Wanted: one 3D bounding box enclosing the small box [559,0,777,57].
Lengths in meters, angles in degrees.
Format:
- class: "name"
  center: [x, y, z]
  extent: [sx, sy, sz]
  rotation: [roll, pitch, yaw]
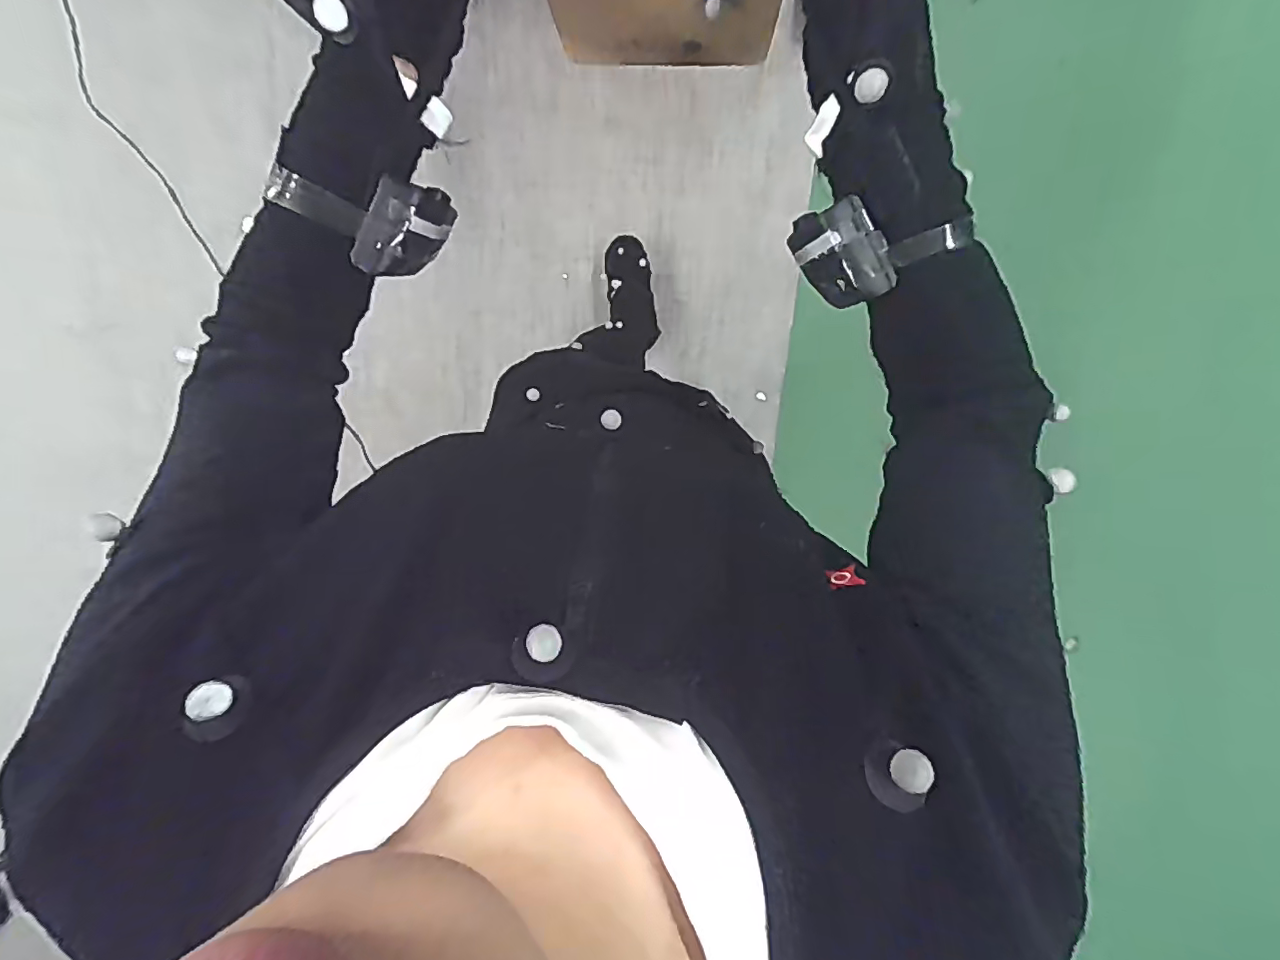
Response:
- class: "small box"
  center: [0.021, -0.423, 0.361]
  extent: [0.168, 0.176, 0.179]
  rotation: [3, 99, 3]
